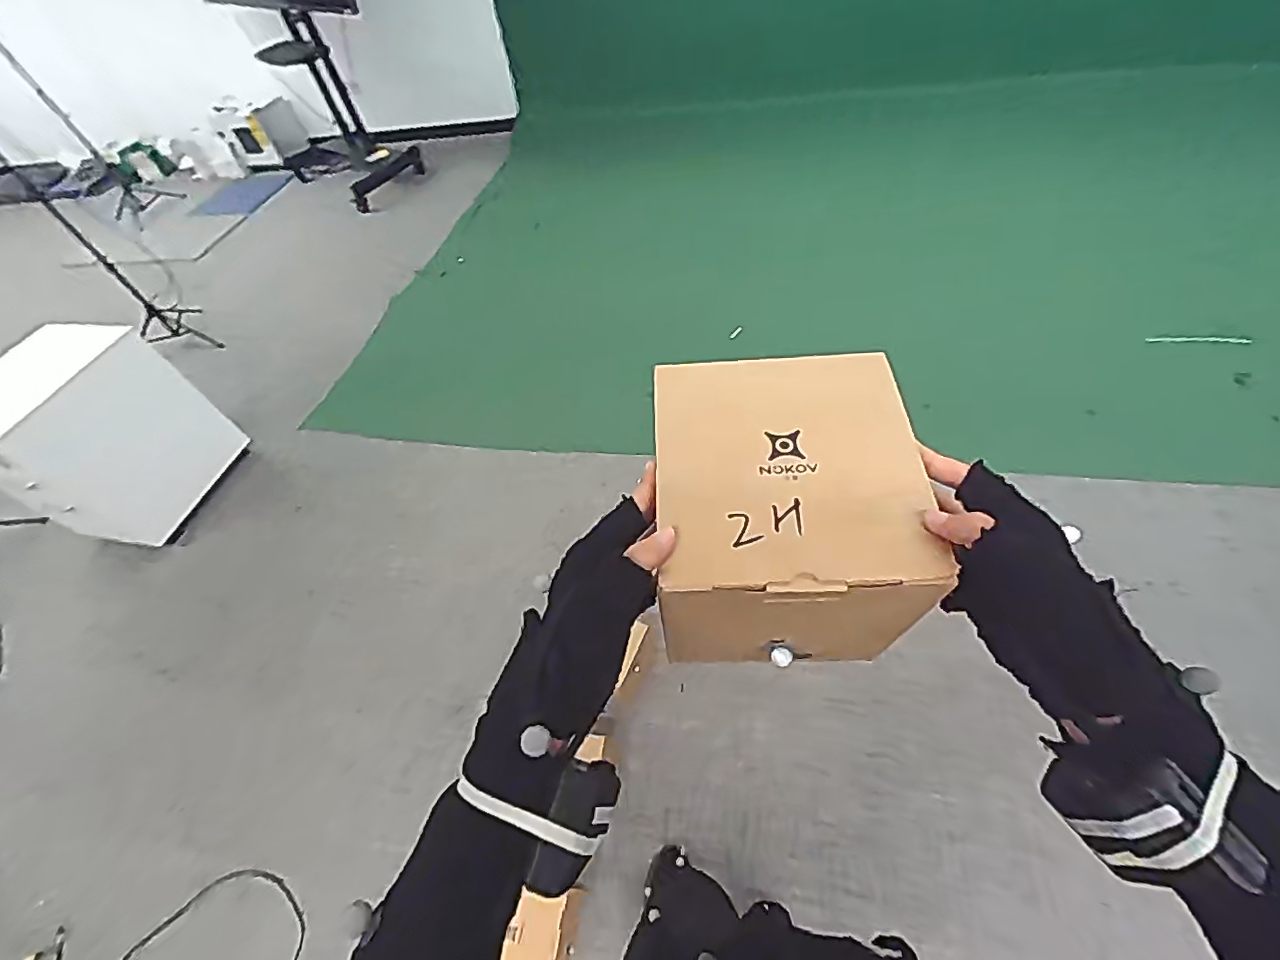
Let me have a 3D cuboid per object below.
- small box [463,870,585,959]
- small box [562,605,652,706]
[{"bbox_3d":[-0.226,0.910,1.093,0.179,0.176,0.168,4,53,12],"label":"small box"},{"bbox_3d":[-0.077,0.464,1.415,0.168,0.176,0.179,16,55,20],"label":"small box"}]
